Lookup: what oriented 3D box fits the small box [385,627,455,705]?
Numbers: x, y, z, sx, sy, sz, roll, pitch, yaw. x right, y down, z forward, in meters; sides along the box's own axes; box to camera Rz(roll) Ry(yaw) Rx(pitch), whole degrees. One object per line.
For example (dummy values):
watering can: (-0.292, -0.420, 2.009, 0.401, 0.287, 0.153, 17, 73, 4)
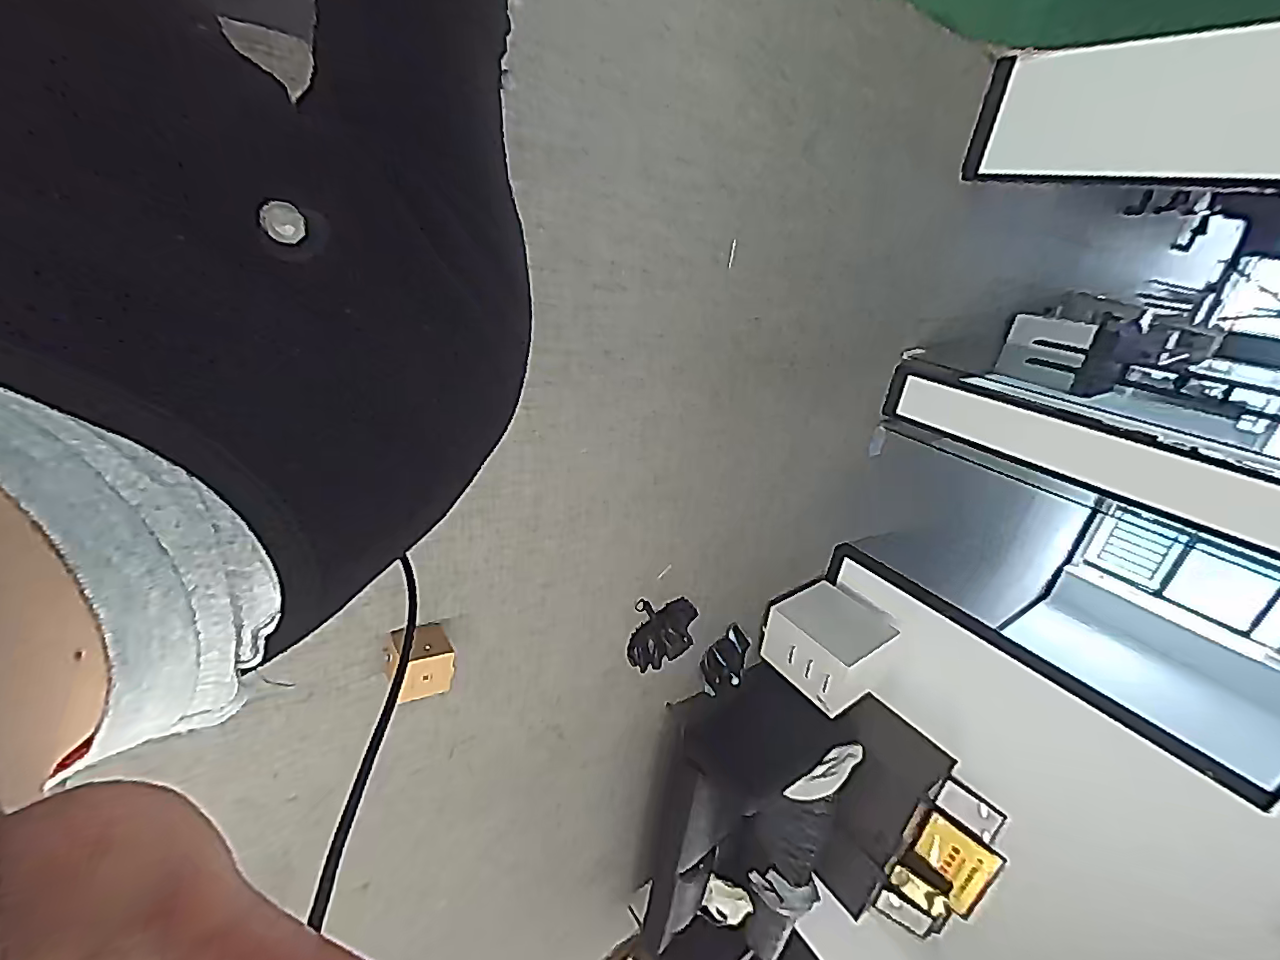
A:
small box: (-0.753, 0.625, 1.844, 0.179, 0.176, 0.168, -2, 114, -38)
